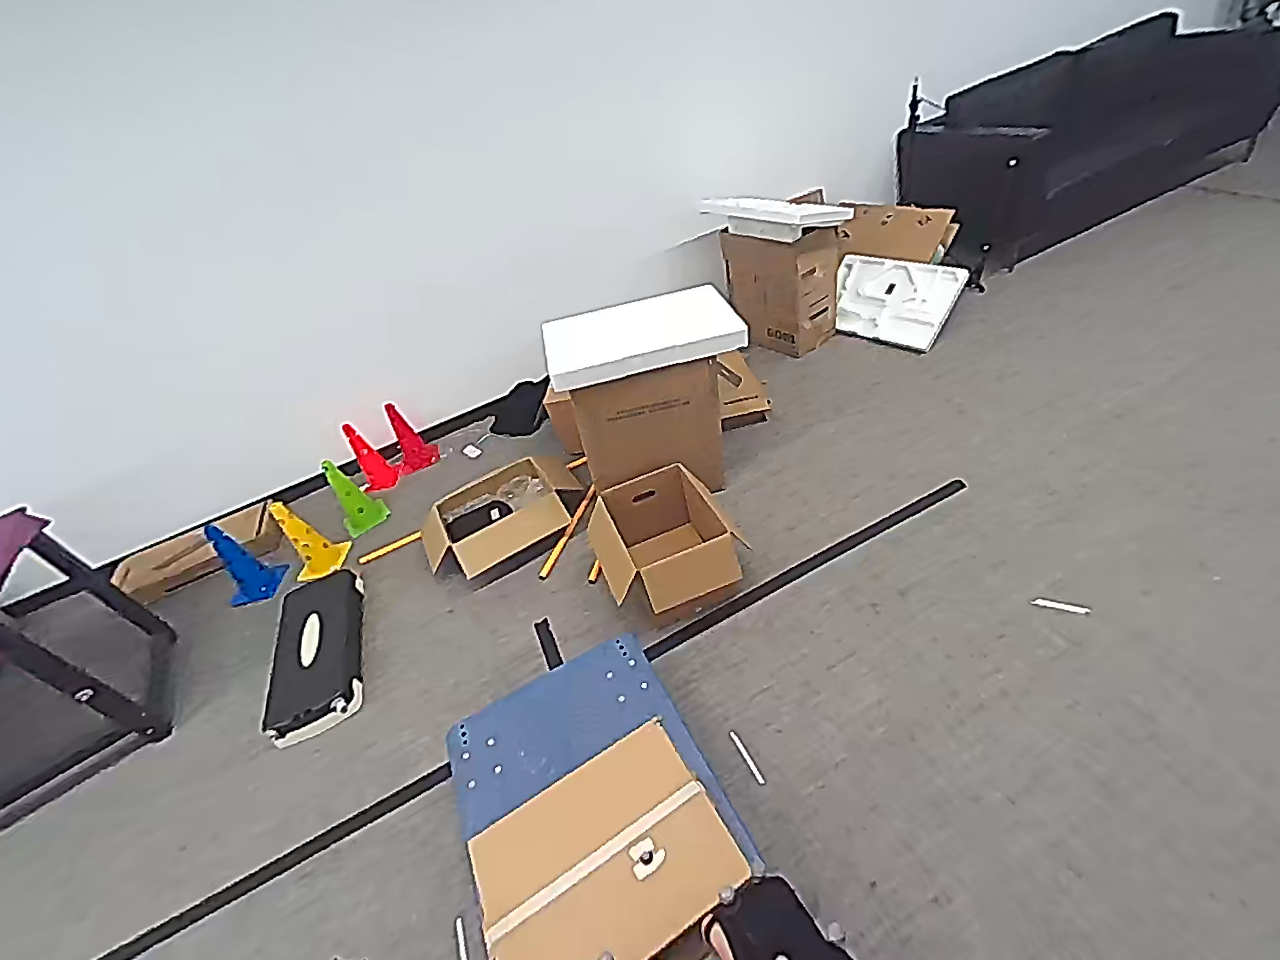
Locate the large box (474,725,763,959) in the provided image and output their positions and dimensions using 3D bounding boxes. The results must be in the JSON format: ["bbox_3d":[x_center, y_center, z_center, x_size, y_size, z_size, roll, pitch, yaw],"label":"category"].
[{"bbox_3d":[-0.030,0.759,1.000,0.408,0.320,0.320,-27,41,-16],"label":"large box"}]
